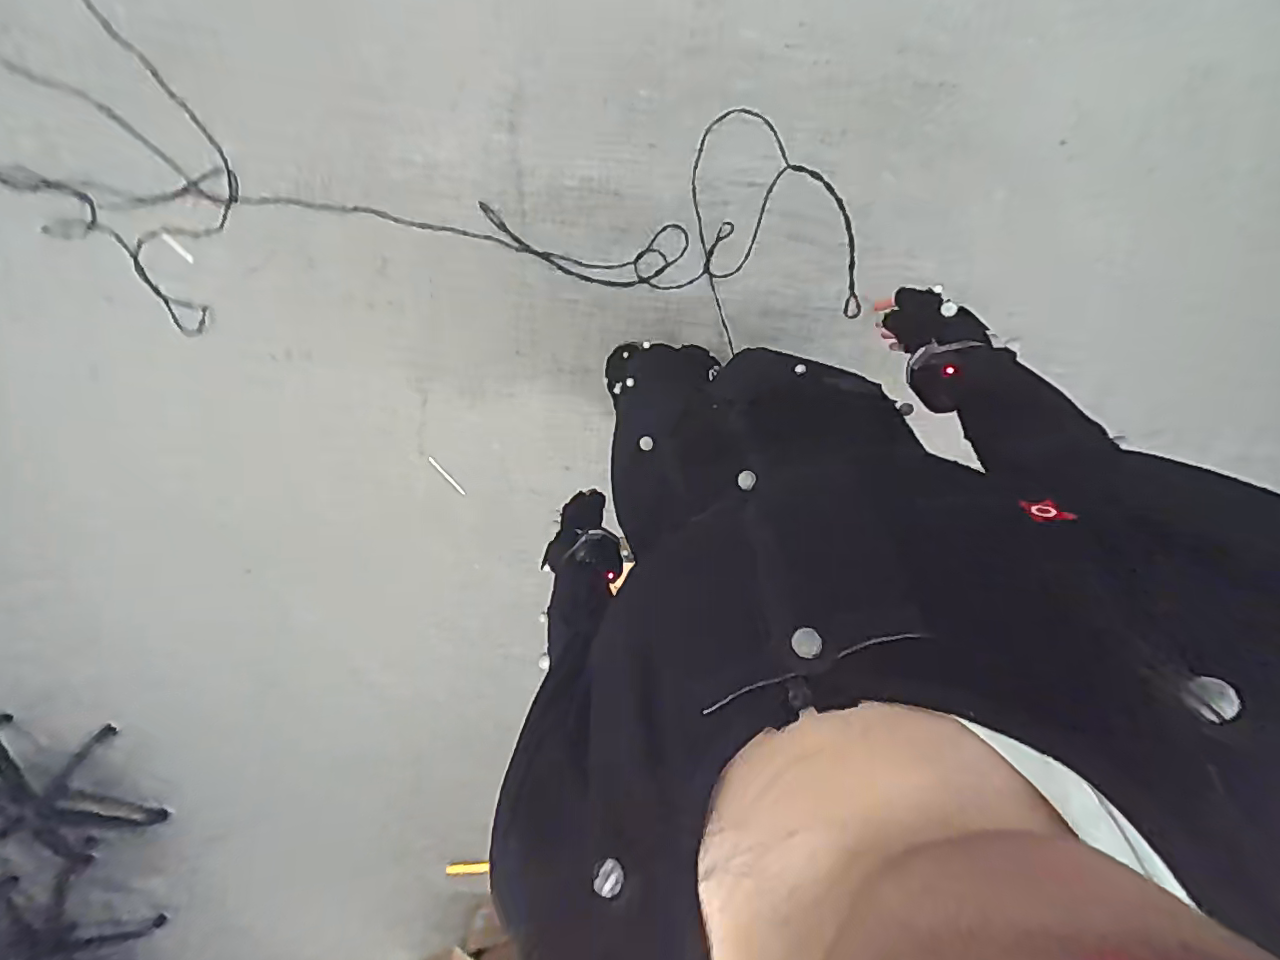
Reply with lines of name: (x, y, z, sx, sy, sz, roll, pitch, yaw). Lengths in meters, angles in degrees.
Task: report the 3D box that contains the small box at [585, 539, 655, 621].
small box: (-0.052, 0.271, 1.503, 0.179, 0.176, 0.168, 4, 106, 1)
